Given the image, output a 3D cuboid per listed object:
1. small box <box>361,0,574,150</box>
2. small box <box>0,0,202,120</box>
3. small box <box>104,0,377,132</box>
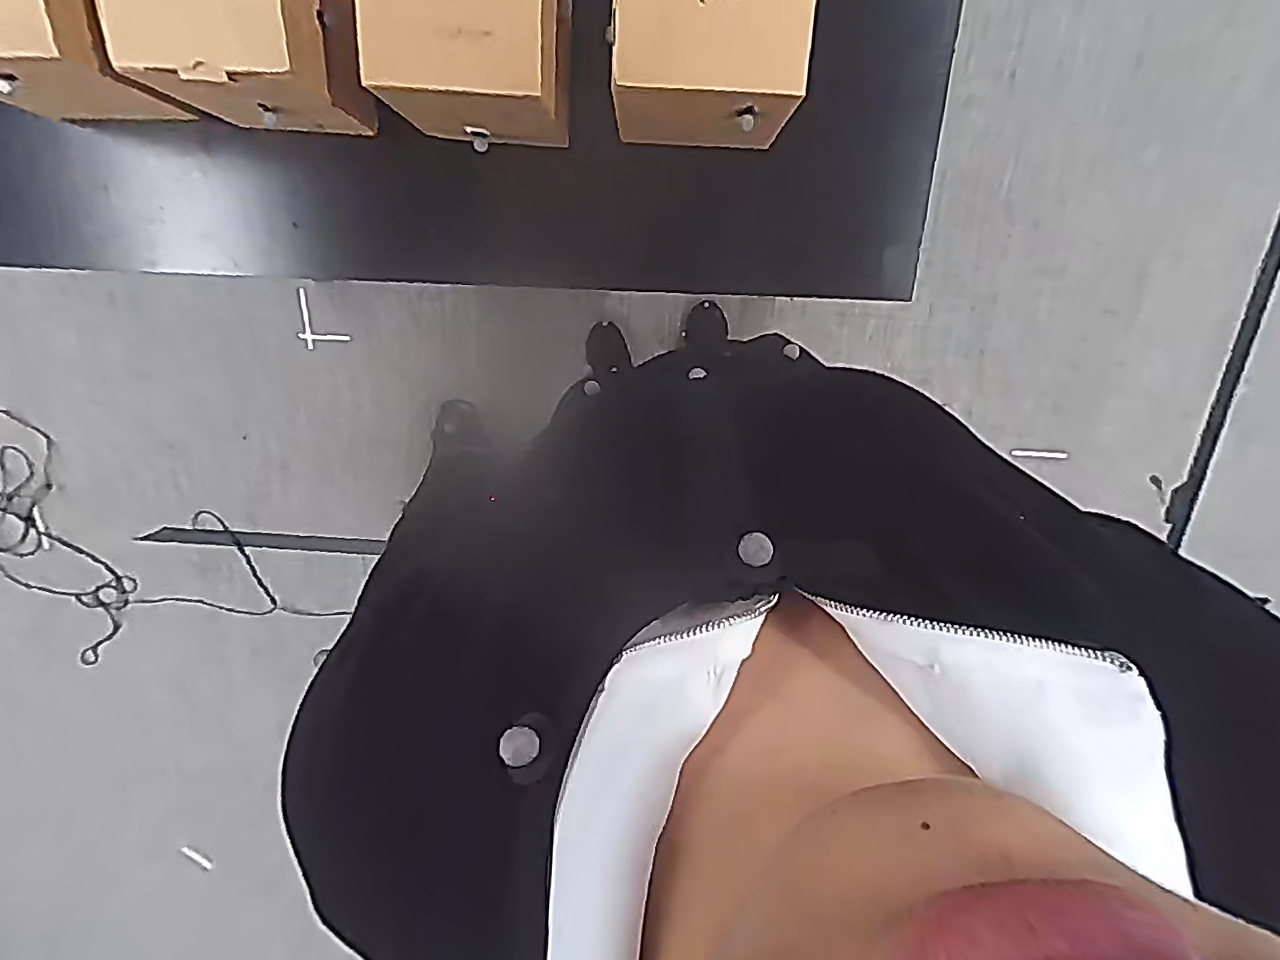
[{"bbox_3d":[-0.161,-0.461,0.547,0.168,0.176,0.179,3,108,1],"label":"small box"},{"bbox_3d":[-0.602,-0.482,0.542,0.179,0.176,0.168,0,107,-1],"label":"small box"},{"bbox_3d":[-0.387,-0.473,0.544,0.168,0.176,0.179,3,108,0],"label":"small box"}]
